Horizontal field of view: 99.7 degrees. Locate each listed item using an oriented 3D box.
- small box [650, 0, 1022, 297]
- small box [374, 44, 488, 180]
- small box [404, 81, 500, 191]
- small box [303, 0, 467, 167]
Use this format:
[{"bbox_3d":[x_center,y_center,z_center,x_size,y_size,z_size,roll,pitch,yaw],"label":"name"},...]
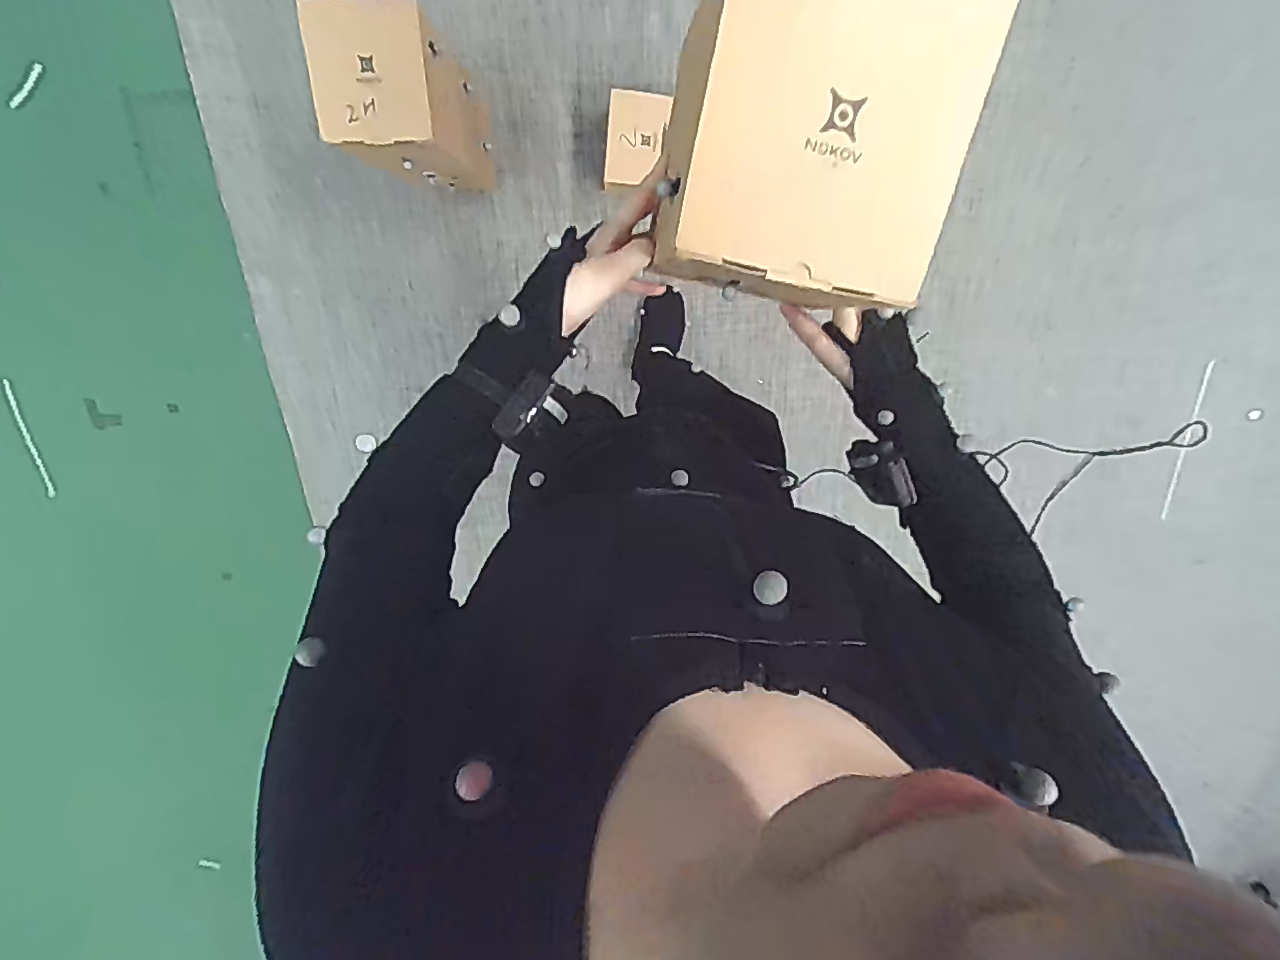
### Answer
[{"bbox_3d":[0.107,-0.235,0.379,0.168,0.176,0.179,9,108,-9],"label":"small box"},{"bbox_3d":[-0.387,-0.663,0.991,0.168,0.176,0.179,-1,111,-1],"label":"small box"},{"bbox_3d":[-0.396,-0.721,1.142,0.168,0.176,0.179,2,111,-3],"label":"small box"},{"bbox_3d":[-0.379,-0.602,0.837,0.168,0.176,0.179,-1,110,0],"label":"small box"}]
